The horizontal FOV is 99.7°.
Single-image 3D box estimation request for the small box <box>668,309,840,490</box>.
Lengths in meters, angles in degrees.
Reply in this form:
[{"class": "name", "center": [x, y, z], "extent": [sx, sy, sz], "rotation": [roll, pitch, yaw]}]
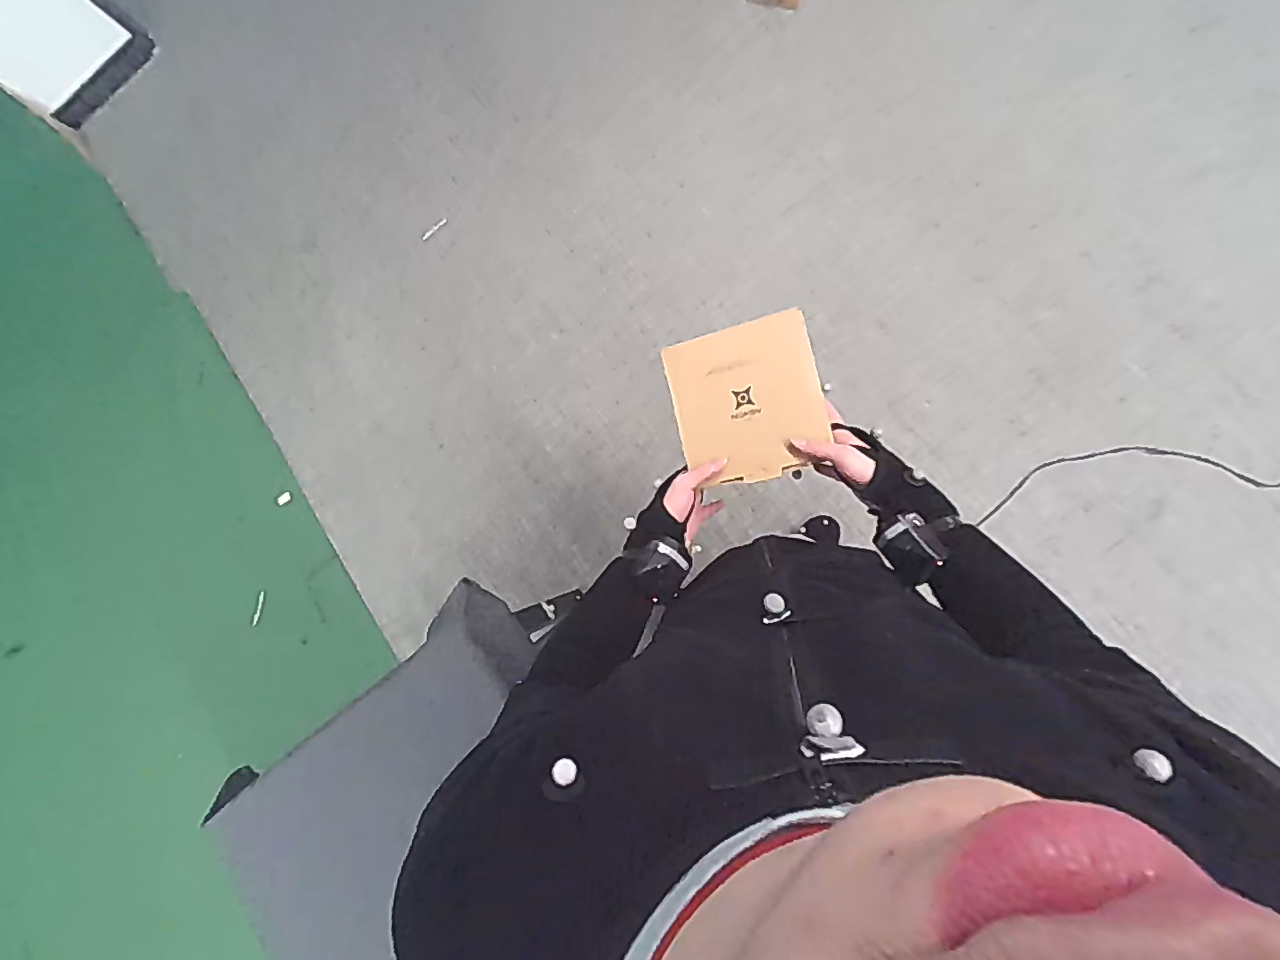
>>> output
[{"class": "small box", "center": [0.152, -0.095, 0.701], "extent": [0.168, 0.176, 0.179], "rotation": [-16, 88, 16]}]
